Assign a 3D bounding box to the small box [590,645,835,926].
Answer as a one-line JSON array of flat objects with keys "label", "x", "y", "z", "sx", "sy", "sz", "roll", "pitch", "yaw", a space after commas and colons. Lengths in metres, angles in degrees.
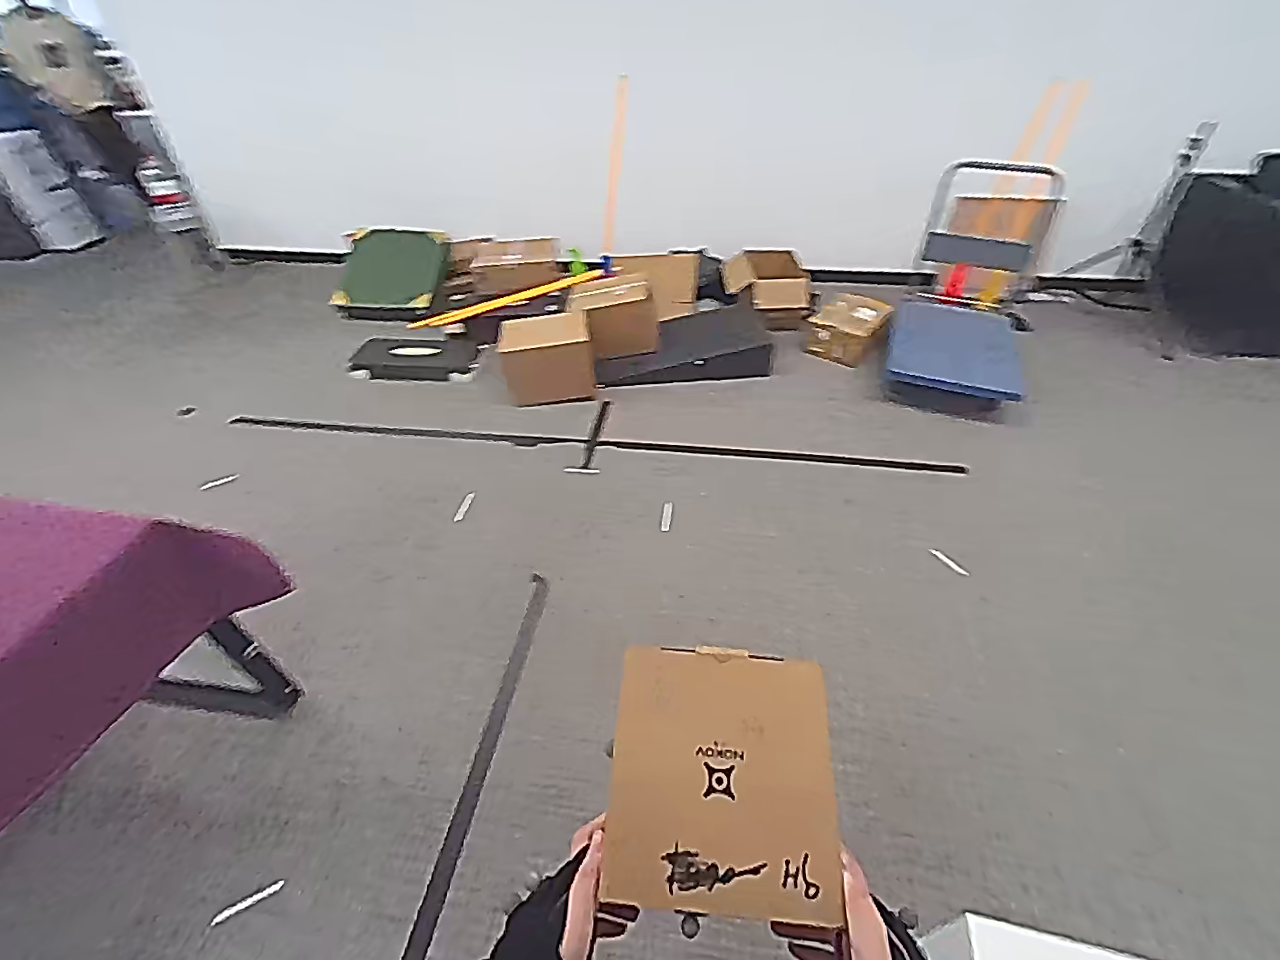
[{"label": "small box", "x": 0.055, "y": 0.263, "z": 0.470, "sx": 0.168, "sy": 0.176, "sz": 0.179, "roll": 3, "pitch": 54, "yaw": 4}]
